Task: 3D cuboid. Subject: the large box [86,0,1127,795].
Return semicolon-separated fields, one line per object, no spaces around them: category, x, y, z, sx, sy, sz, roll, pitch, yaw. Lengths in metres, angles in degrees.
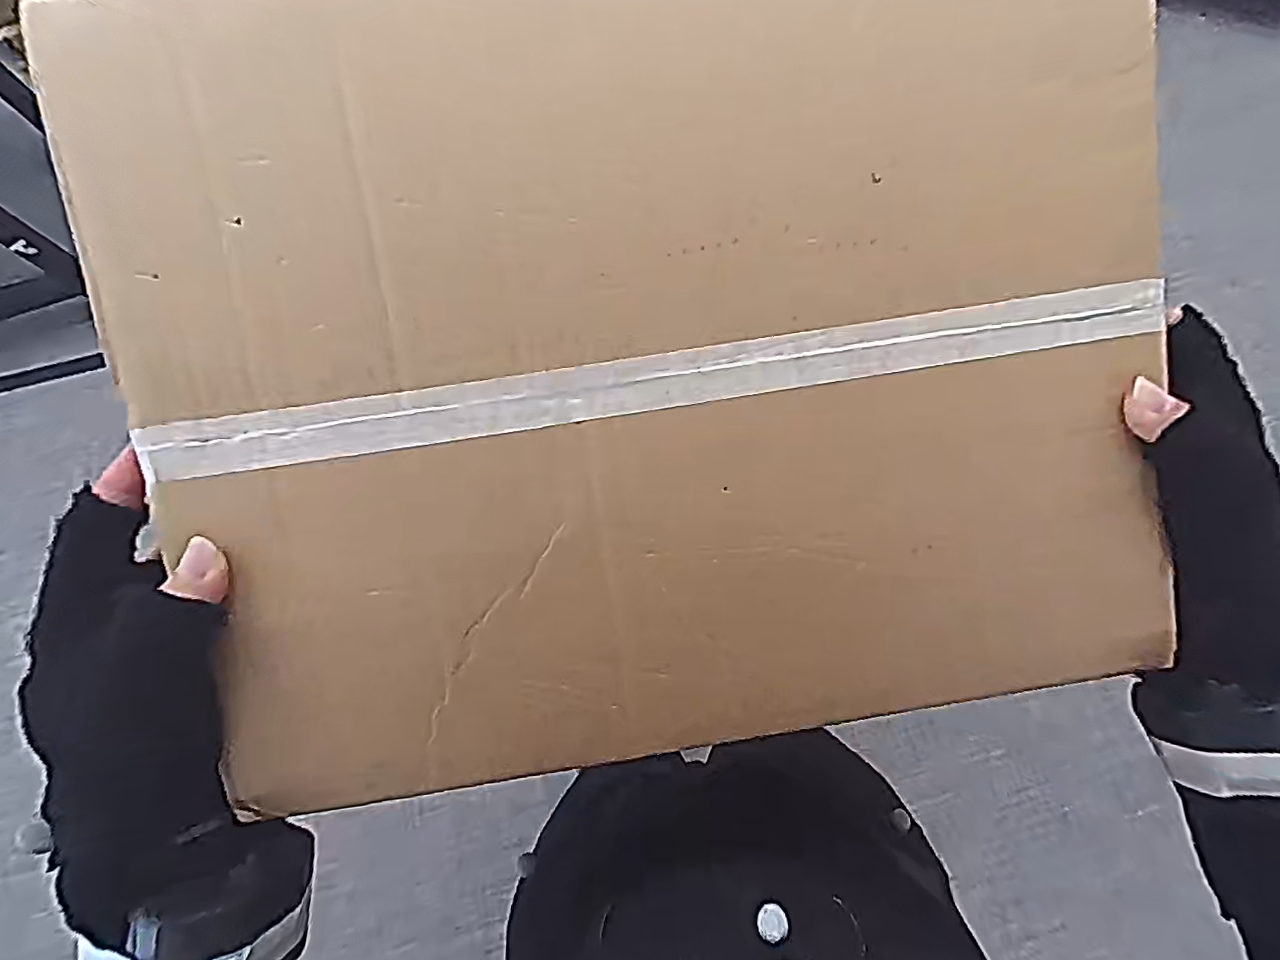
large box;0.004;-0.059;0.373;0.408;0.320;0.320;-8;97;-2
